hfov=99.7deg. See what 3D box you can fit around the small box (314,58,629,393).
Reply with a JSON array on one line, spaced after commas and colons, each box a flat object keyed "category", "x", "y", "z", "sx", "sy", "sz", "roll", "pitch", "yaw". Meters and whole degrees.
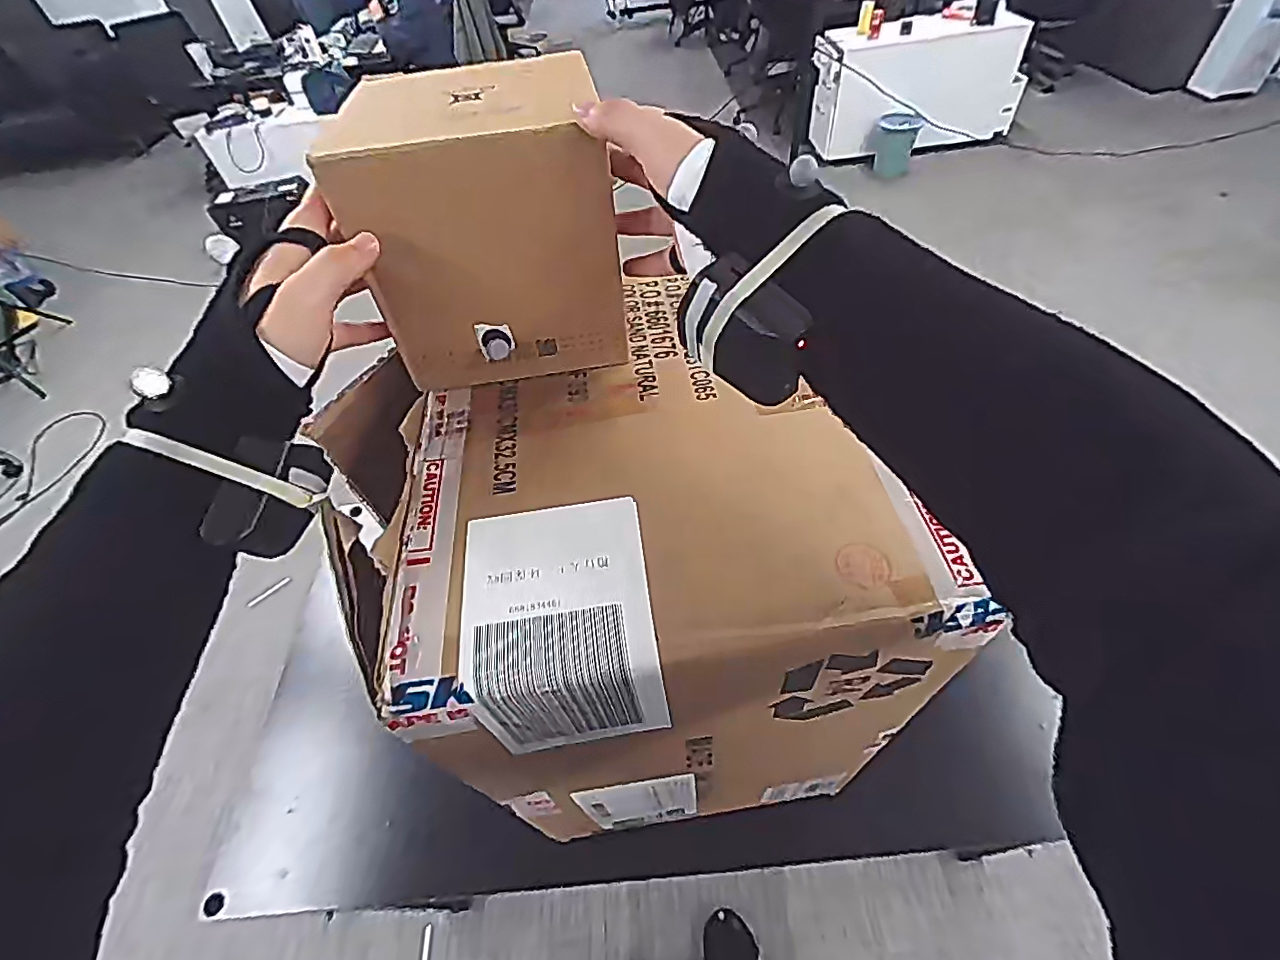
[{"category": "small box", "x": -0.106, "y": -0.193, "z": 0.414, "sx": 0.168, "sy": 0.176, "sz": 0.179, "roll": -11, "pitch": 49, "yaw": -3}]
